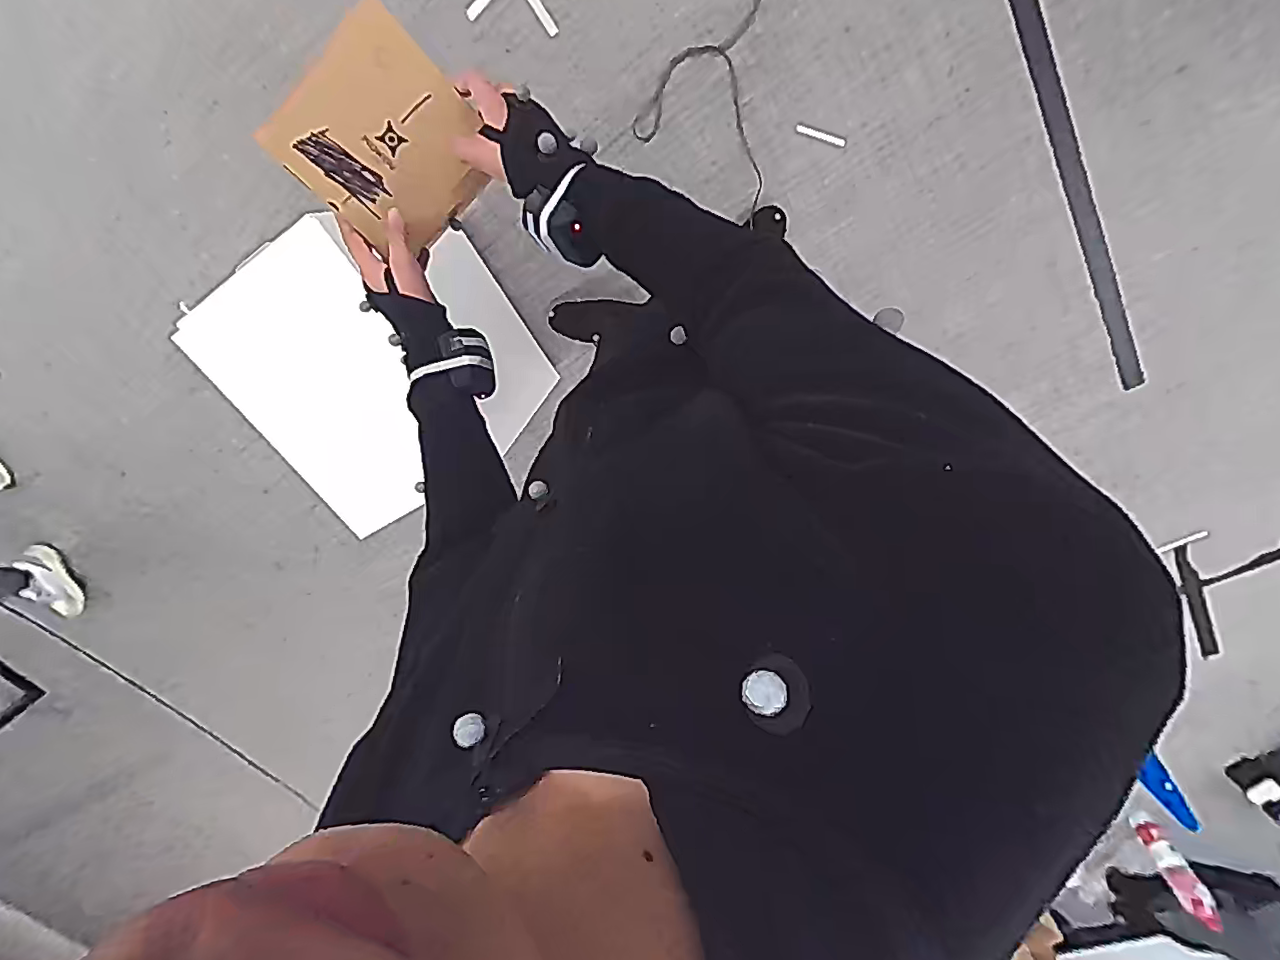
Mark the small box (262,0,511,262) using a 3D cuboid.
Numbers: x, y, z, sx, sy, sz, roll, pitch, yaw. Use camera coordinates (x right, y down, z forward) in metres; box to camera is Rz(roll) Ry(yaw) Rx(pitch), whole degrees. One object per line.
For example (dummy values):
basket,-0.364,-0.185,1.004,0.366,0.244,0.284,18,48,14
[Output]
small box,-0.257,-0.373,0.598,0.179,0.176,0.168,-41,119,11
